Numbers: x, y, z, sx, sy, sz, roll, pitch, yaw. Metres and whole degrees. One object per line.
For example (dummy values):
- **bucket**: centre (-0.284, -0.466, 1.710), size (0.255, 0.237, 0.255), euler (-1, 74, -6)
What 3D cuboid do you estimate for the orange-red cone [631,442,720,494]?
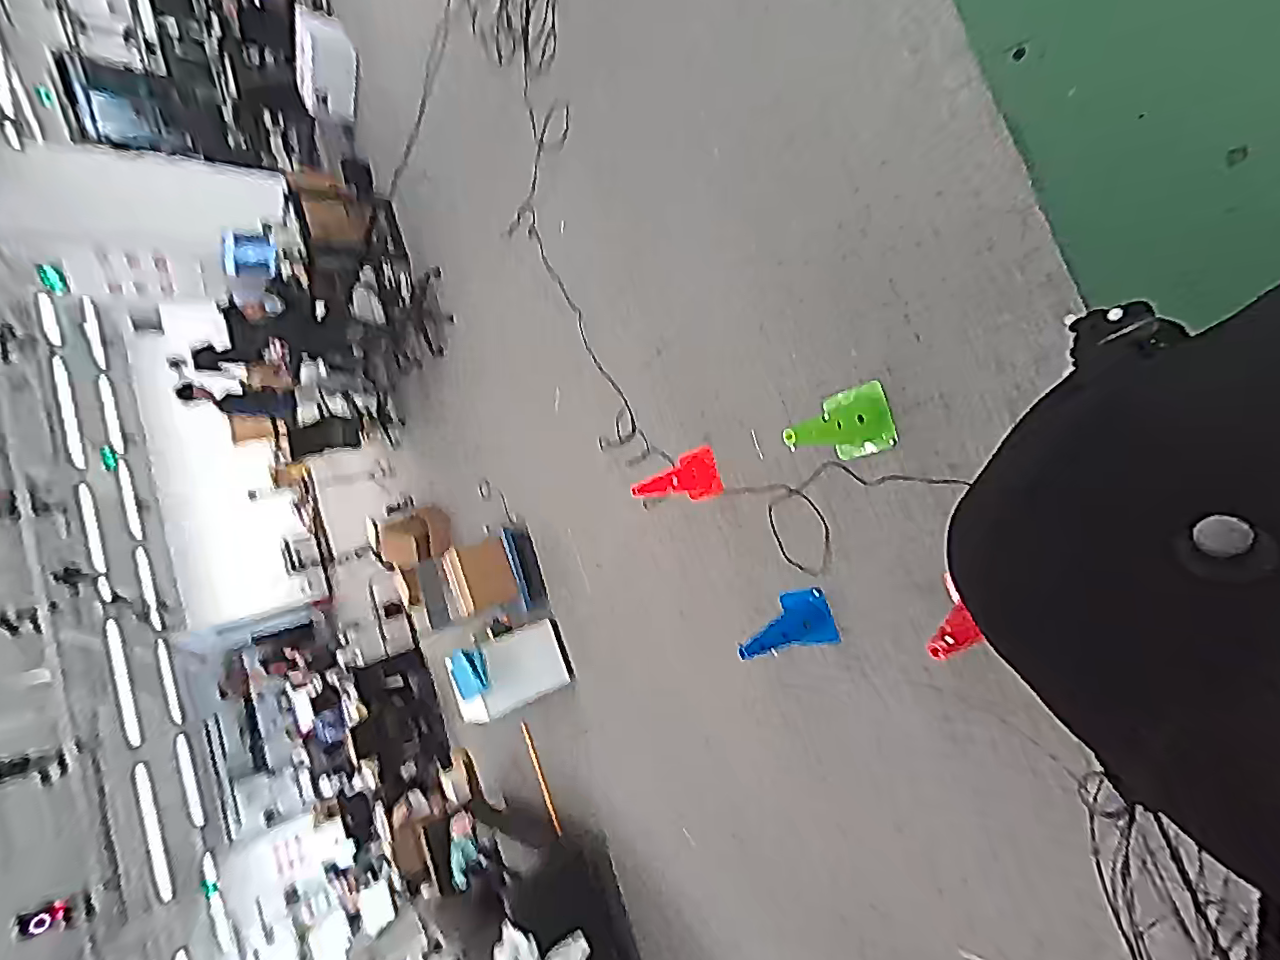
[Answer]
- **orange-red cone**: centre (0.110, -0.012, 2.117), size (0.199, 0.360, 0.198), euler (-18, 87, 51)

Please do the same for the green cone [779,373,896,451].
- **green cone**: centre (0.526, -0.170, 1.536), size (0.202, 0.368, 0.200), euler (-23, 83, 53)
